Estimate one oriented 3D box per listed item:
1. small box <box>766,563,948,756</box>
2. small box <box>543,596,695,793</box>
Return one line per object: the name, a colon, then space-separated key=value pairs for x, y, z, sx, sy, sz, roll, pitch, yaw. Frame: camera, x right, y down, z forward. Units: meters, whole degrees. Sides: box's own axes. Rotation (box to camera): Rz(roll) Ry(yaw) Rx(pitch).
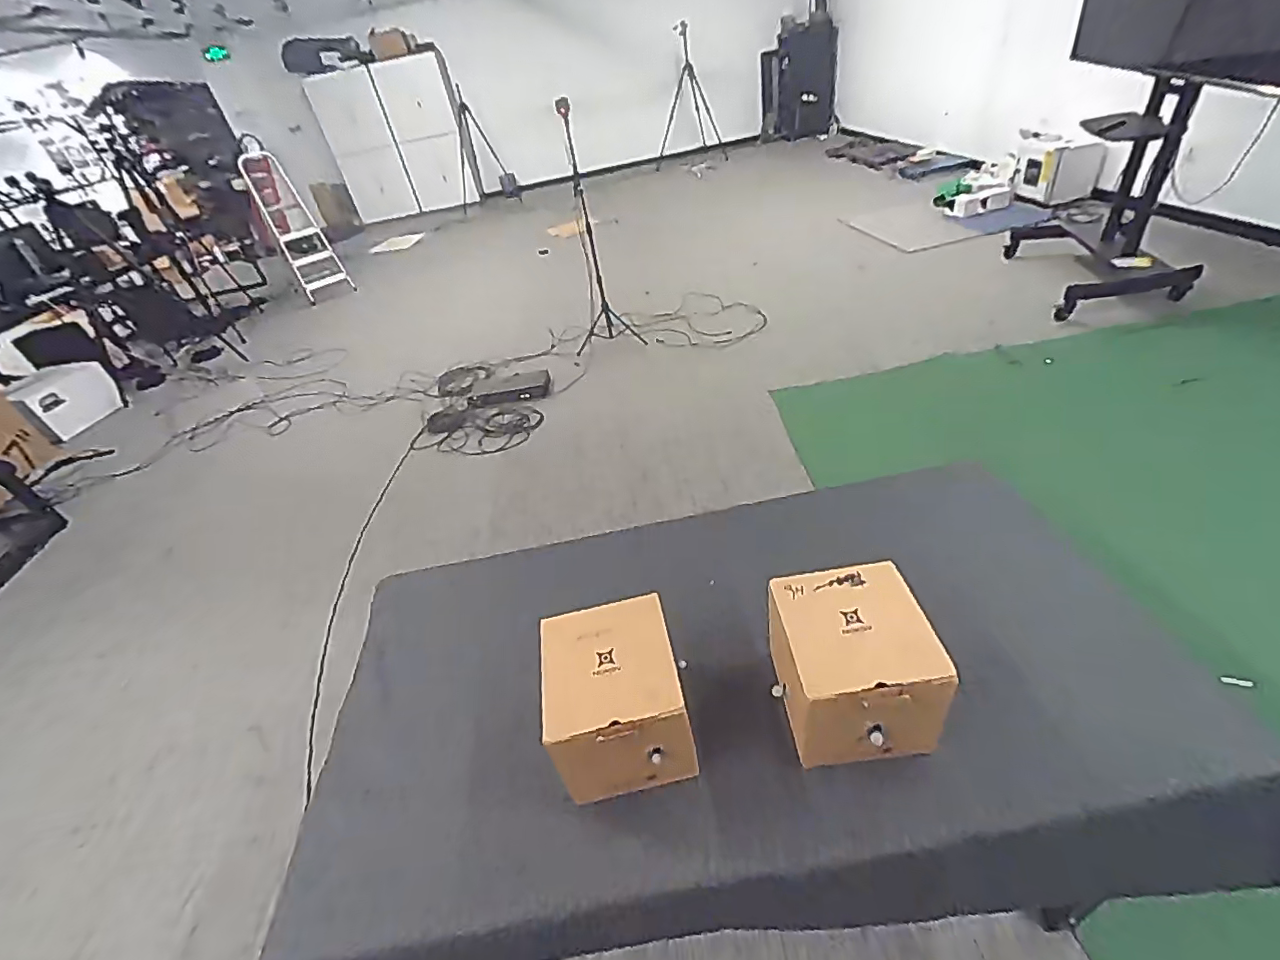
small box: x=0.268 y=0.239 z=0.708 sx=0.168 sy=0.176 sz=0.179 roll=-10 pitch=39 yaw=4
small box: x=-0.029 y=0.292 z=0.728 sx=0.168 sy=0.176 sz=0.179 roll=-13 pitch=37 yaw=-3
